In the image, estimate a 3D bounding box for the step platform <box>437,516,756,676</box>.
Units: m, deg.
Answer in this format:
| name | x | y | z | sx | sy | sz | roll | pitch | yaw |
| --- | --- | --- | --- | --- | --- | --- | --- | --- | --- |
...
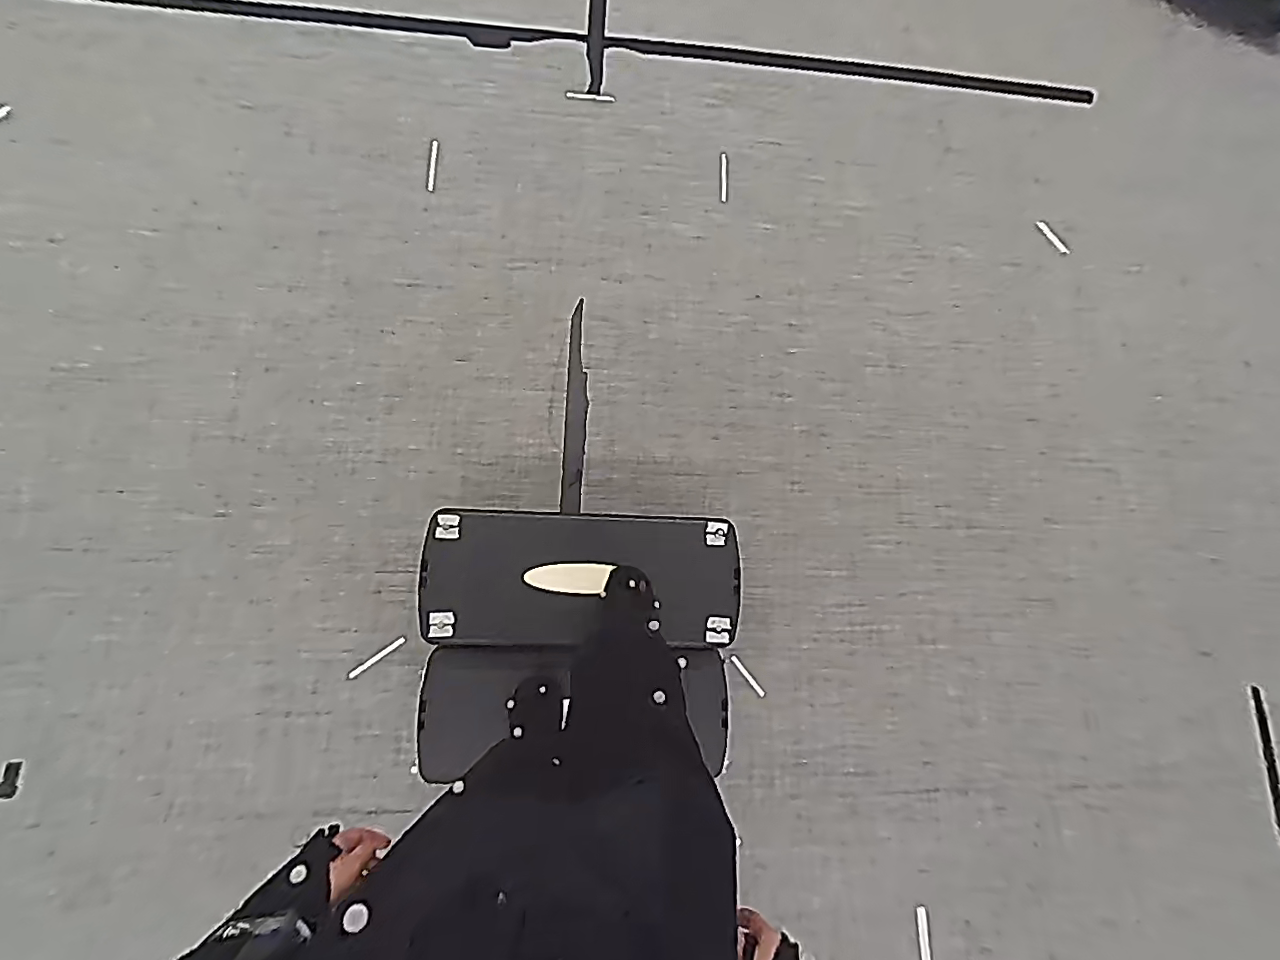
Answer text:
| name | x | y | z | sx | sy | sz | roll | pitch | yaw |
| --- | --- | --- | --- | --- | --- | --- | --- | --- | --- |
| step platform | -0.089 | 0.257 | 1.206 | 0.684 | 0.204 | 0.286 | 7 | 77 | -6 |
